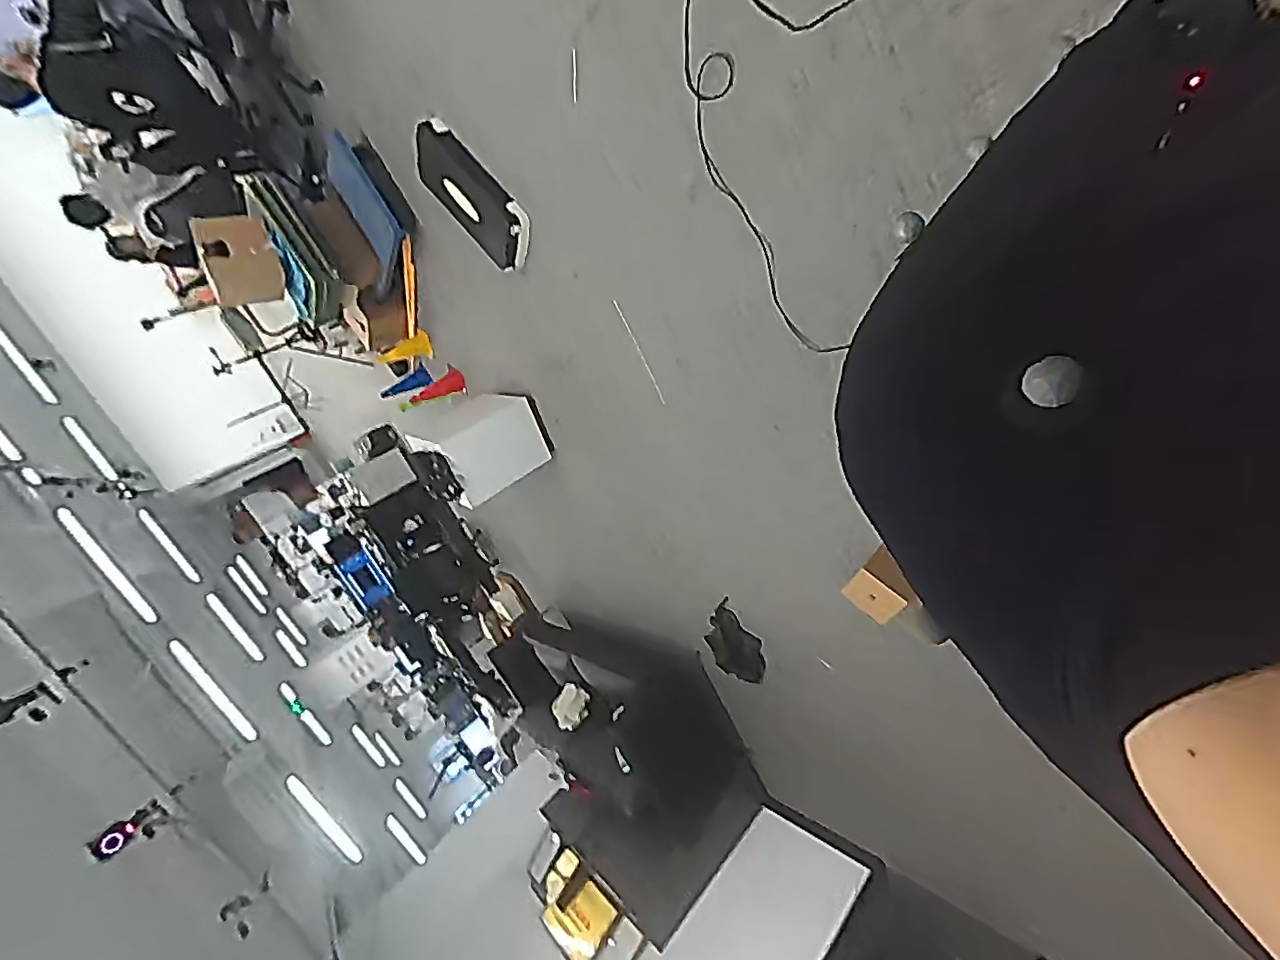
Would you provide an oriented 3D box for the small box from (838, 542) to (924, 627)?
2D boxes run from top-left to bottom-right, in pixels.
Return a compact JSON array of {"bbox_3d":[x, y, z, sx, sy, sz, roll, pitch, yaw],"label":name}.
[{"bbox_3d":[0.789,0.339,1.766,0.168,0.176,0.179,40,146,21],"label":"small box"}]
